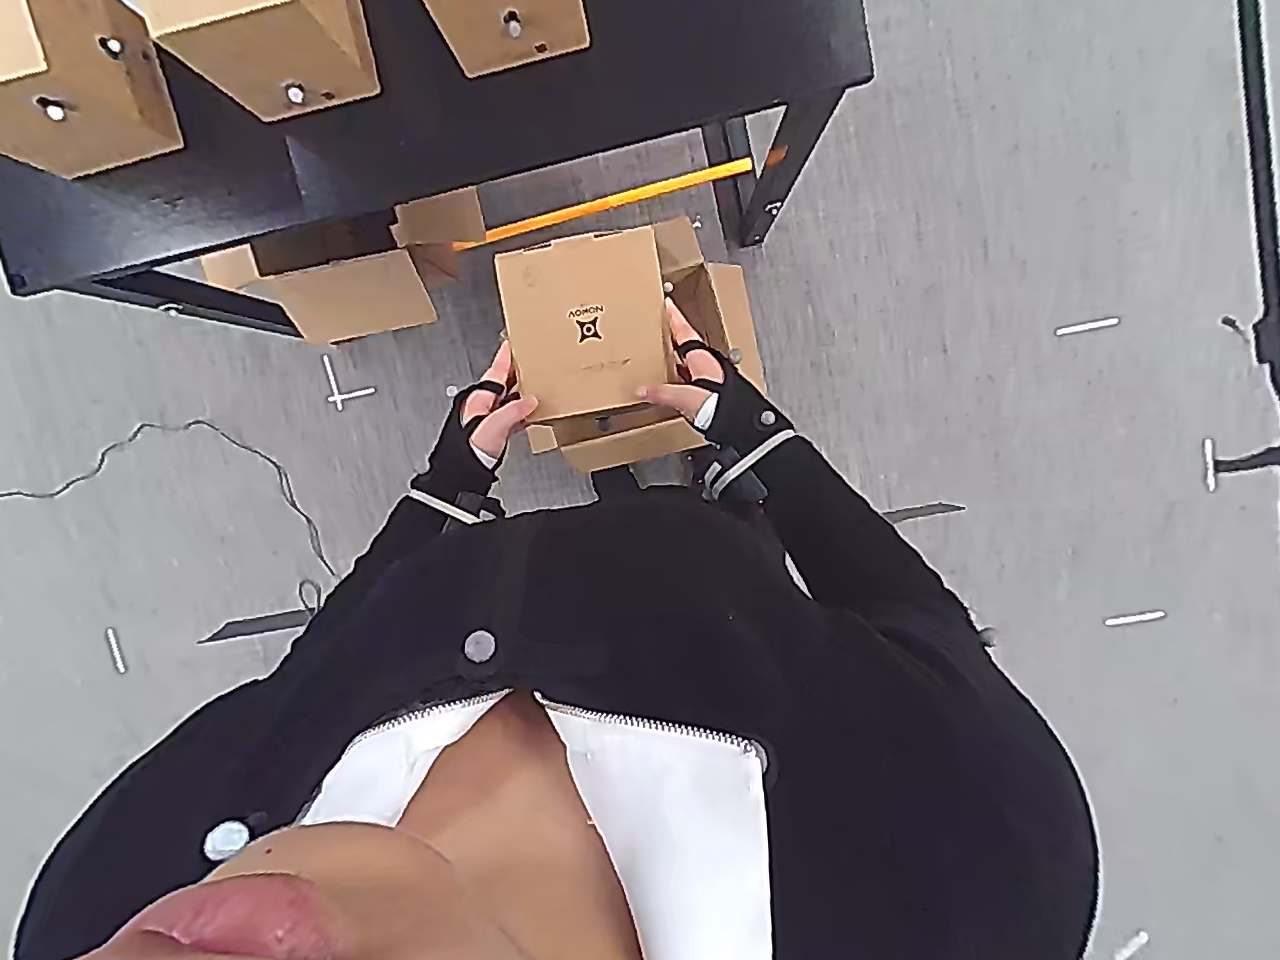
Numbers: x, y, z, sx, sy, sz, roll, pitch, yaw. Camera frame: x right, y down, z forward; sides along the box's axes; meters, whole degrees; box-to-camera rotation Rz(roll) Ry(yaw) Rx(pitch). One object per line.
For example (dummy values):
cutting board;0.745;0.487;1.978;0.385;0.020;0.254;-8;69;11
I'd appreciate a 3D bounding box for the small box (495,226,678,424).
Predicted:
small box;-0.054;-0.165;0.634;0.168;0.176;0.179;-10;95;2

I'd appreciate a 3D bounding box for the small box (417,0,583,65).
small box;-0.168;-0.610;0.606;0.168;0.176;0.179;-11;97;4

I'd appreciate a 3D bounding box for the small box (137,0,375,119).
small box;-0.440;-0.564;0.622;0.168;0.176;0.179;-11;97;4

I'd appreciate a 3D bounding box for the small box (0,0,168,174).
small box;-0.716;-0.497;0.640;0.179;0.176;0.168;-13;96;4
